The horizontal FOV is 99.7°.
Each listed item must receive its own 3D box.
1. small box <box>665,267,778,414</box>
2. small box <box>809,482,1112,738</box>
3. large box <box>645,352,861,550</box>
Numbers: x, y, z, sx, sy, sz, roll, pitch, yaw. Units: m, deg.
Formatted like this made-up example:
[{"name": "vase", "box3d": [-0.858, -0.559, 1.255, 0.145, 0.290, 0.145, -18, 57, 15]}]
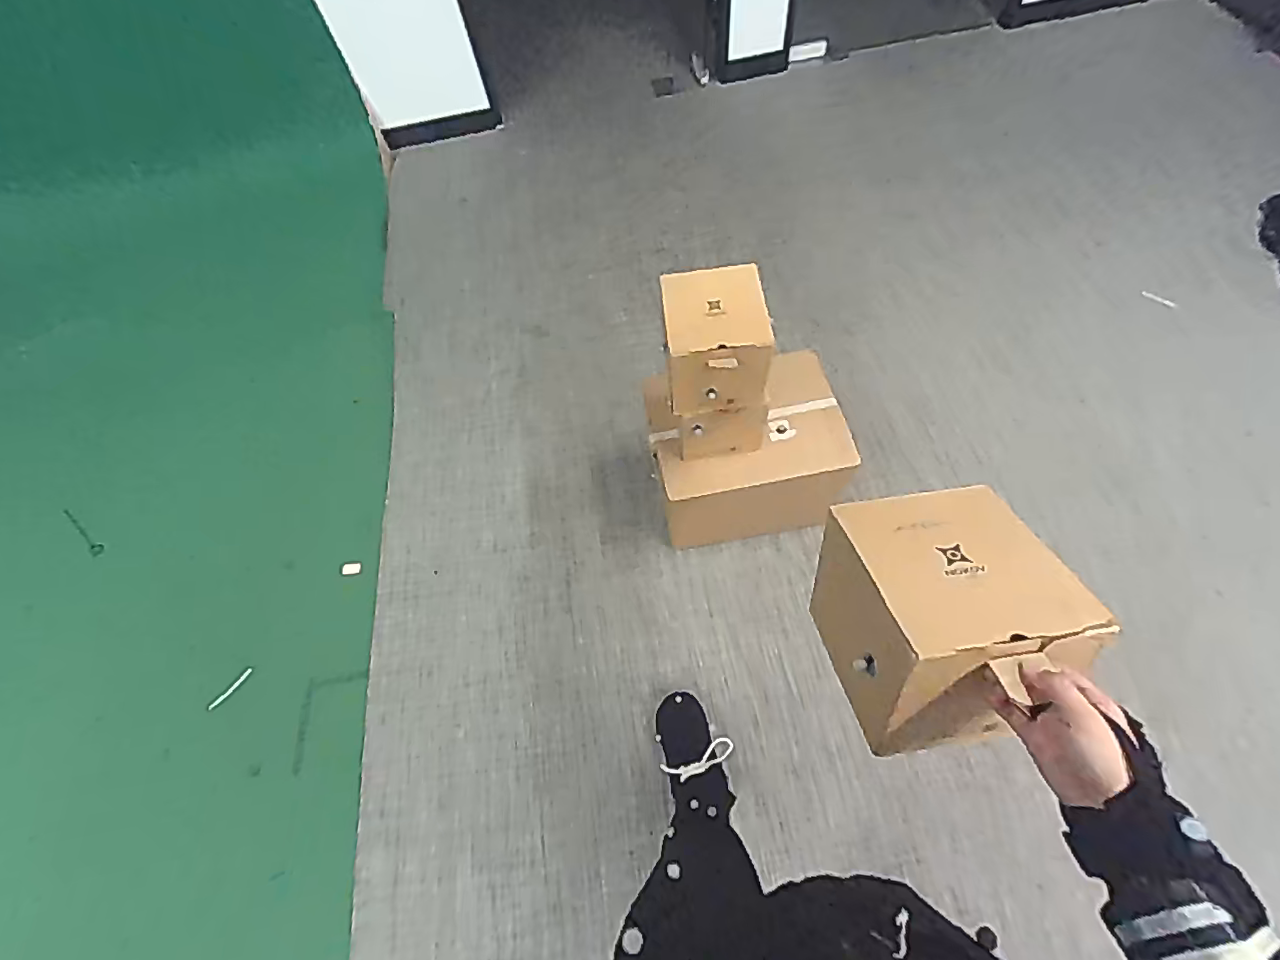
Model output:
[{"name": "small box", "box3d": [0.131, -0.238, 0.939, 0.168, 0.176, 0.179, -6, 63, 2]}, {"name": "small box", "box3d": [0.278, 0.127, 0.522, 0.168, 0.176, 0.179, -6, 38, -3]}, {"name": "large box", "box3d": [0.242, -0.057, 1.295, 0.408, 0.320, 0.320, -10, 64, -1]}]
